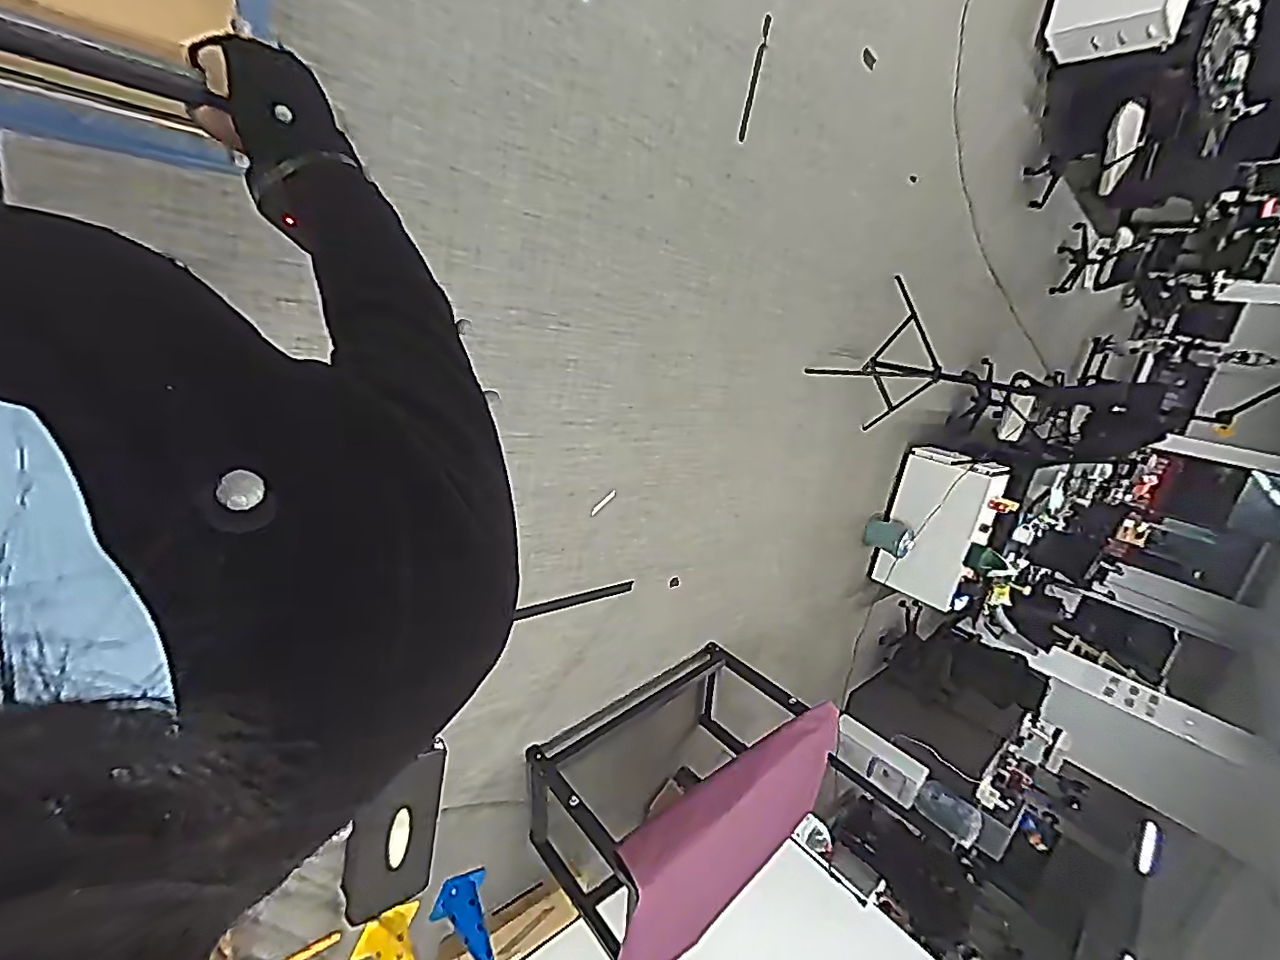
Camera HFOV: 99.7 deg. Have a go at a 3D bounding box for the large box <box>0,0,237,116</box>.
[{"bbox_3d":[-0.787,-0.714,0.673,0.408,0.320,0.320,-8,114,-43],"label":"large box"}]
